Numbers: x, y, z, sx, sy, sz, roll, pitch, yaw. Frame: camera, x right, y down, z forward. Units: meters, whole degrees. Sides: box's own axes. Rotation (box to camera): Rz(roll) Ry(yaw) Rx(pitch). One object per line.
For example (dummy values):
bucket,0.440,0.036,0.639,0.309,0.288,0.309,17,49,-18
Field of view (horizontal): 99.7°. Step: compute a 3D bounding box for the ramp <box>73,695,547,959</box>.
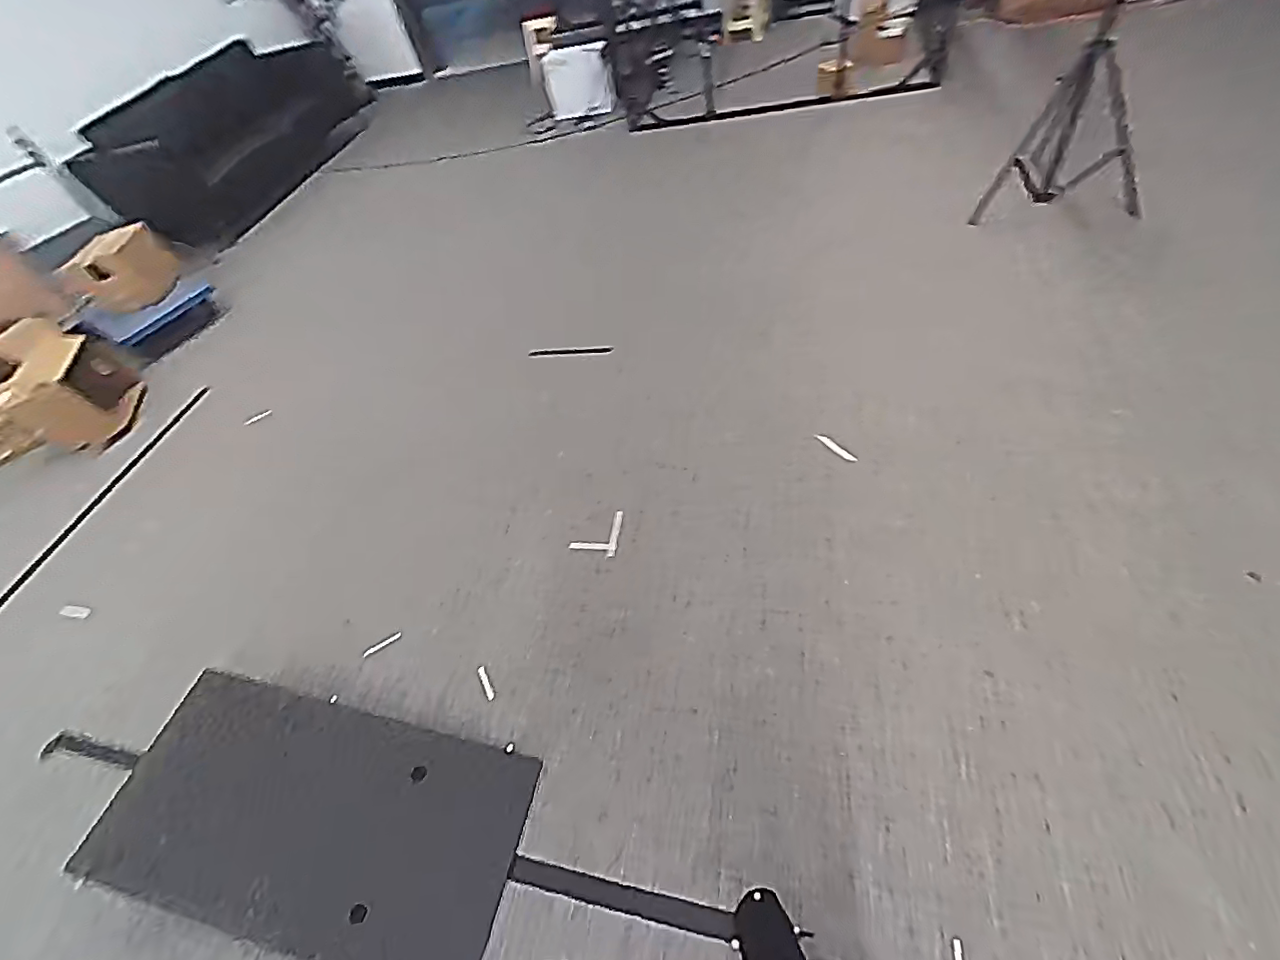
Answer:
ramp,-0.766,0.872,1.309,0.991,0.206,0.509,2,50,16
